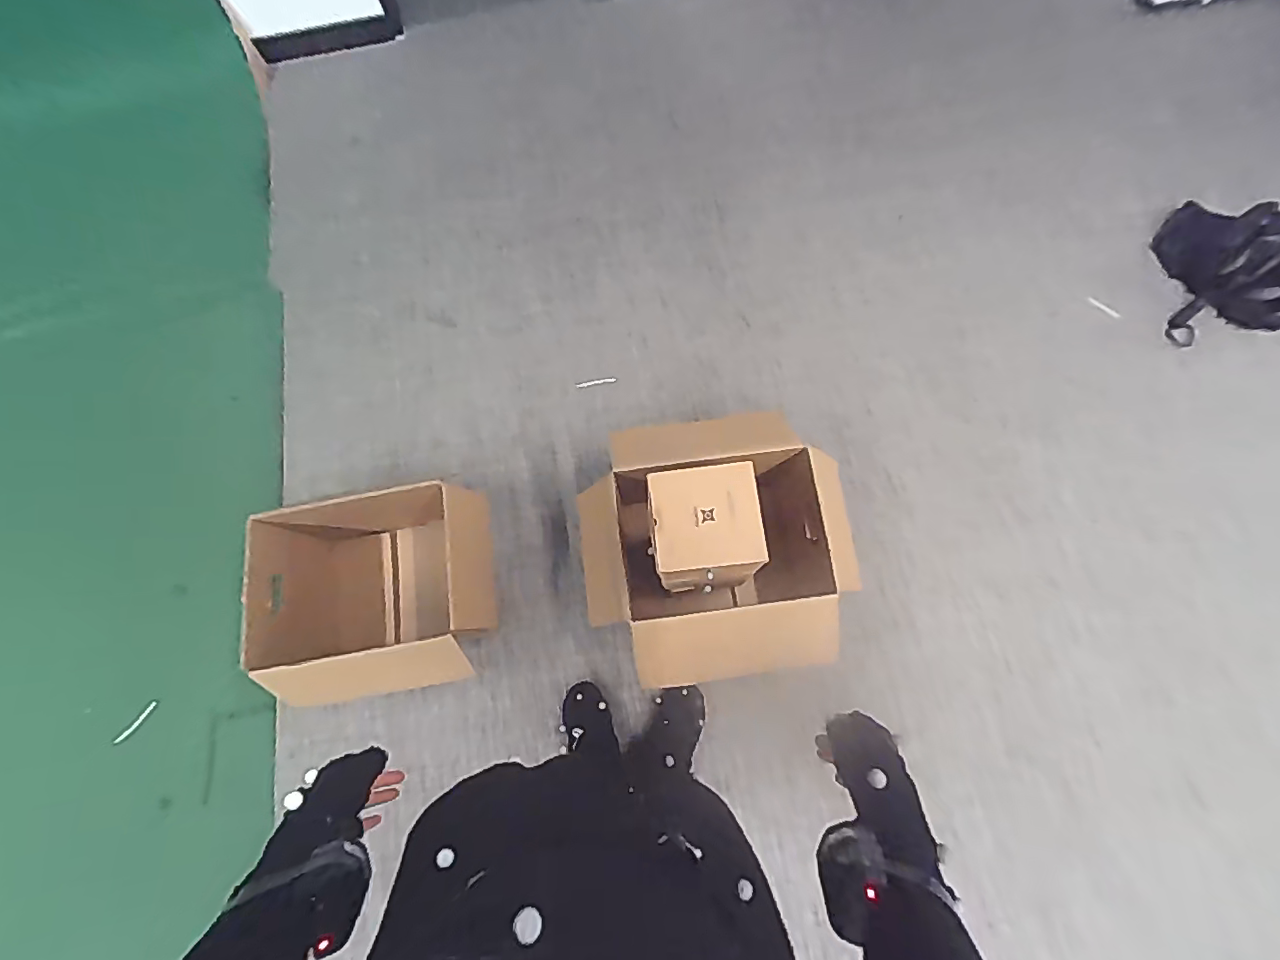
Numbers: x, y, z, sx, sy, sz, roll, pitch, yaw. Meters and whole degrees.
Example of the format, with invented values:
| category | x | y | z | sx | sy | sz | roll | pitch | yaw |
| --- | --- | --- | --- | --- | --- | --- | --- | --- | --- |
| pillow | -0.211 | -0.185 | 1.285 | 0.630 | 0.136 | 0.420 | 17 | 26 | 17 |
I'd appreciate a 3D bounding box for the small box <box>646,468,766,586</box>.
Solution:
| category | x | y | z | sx | sy | sz | roll | pitch | yaw |
| --- | --- | --- | --- | --- | --- | --- | --- | --- | --- |
| small box | 0.111 | 0.089 | 0.947 | 0.179 | 0.176 | 0.168 | -8 | 75 | 2 |
